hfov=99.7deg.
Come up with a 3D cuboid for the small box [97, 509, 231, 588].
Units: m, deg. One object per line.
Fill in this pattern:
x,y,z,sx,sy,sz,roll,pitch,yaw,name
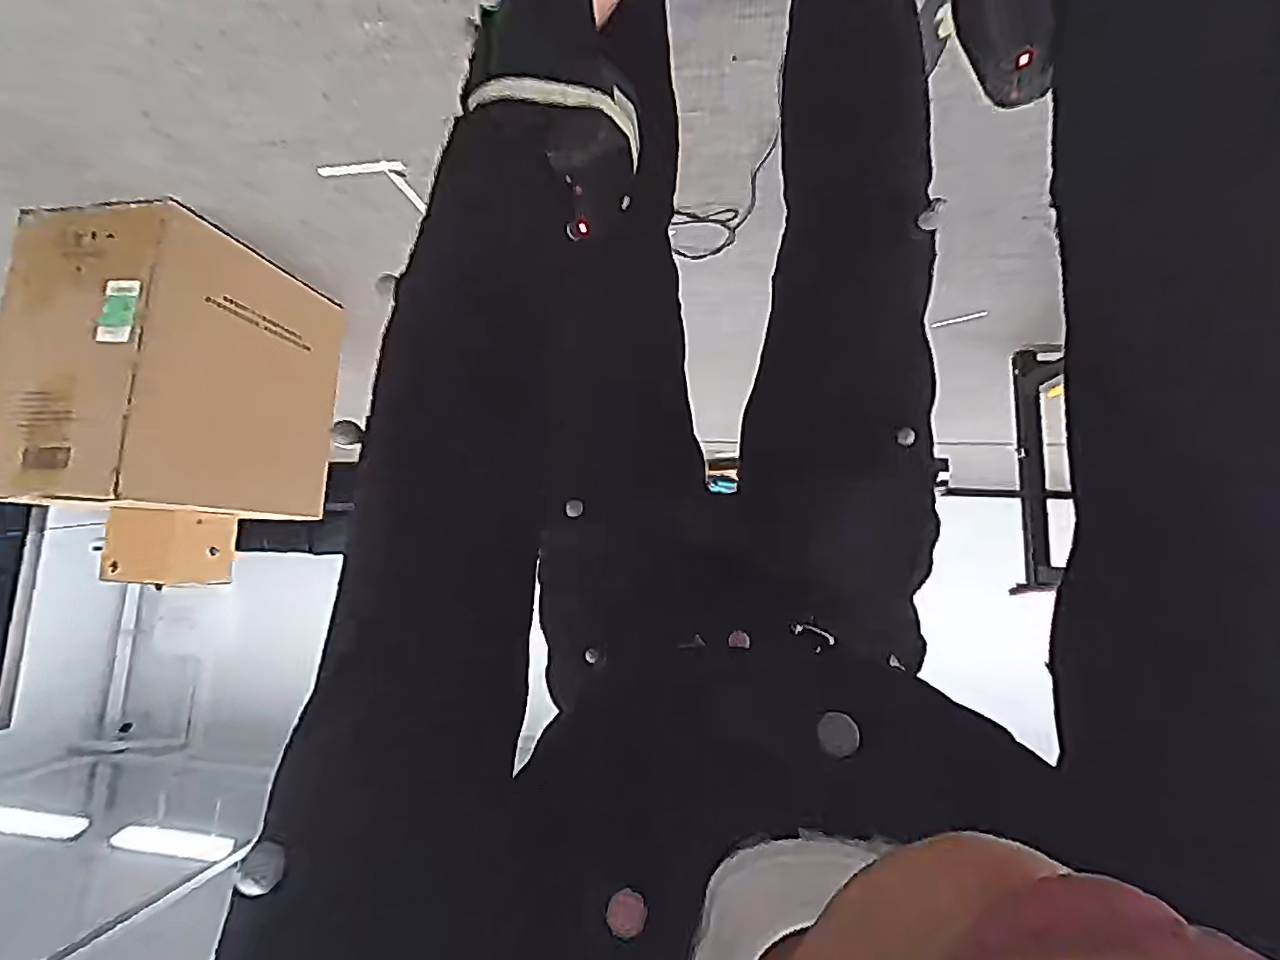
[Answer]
-1.092,0.156,1.255,0.179,0.176,0.168,2,173,7,small box
